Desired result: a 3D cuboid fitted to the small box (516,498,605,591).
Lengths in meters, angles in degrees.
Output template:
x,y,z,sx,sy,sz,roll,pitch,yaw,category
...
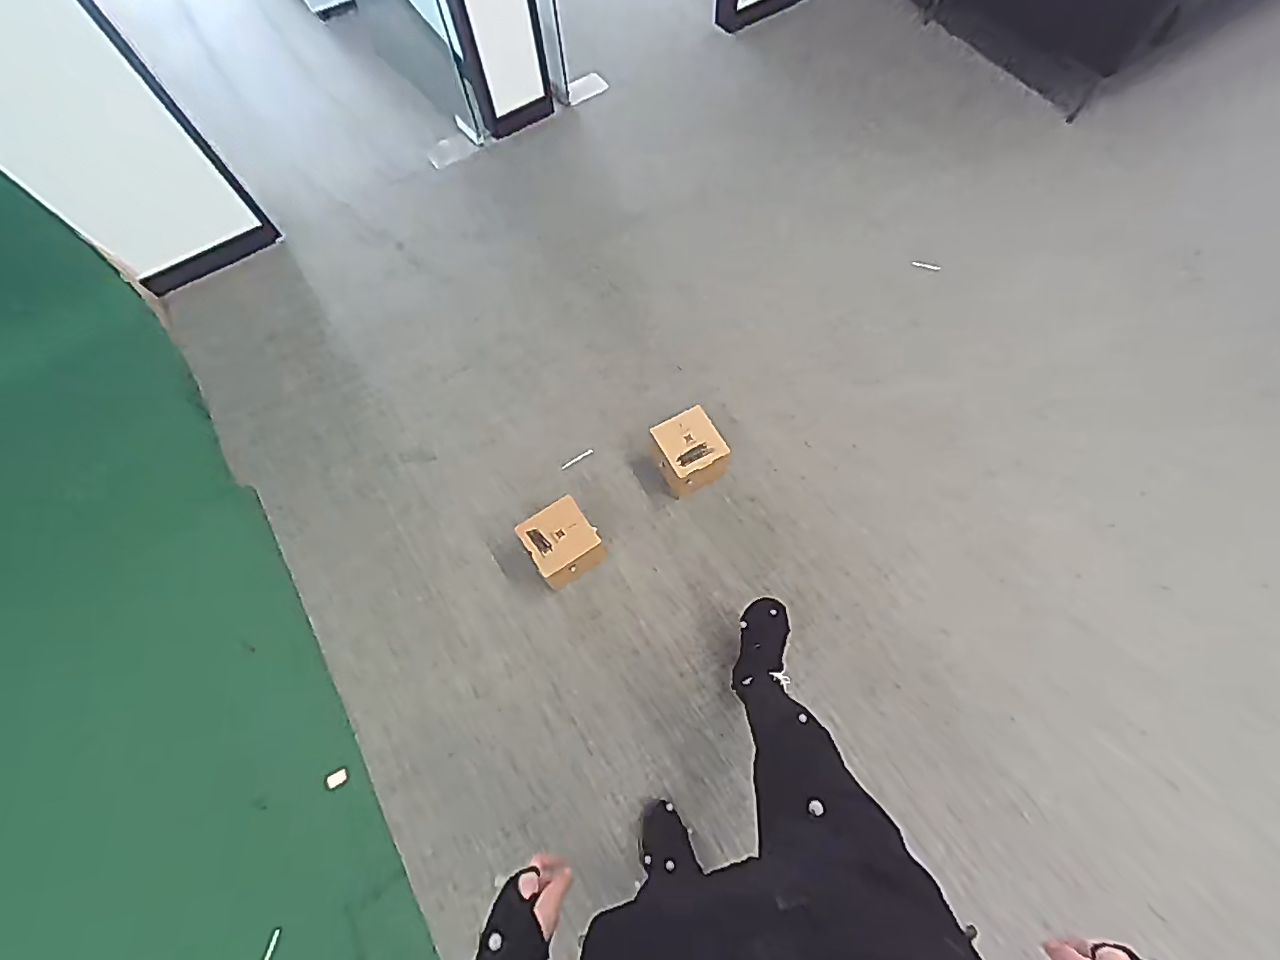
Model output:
x,y,z,sx,sy,sz,roll,pitch,yaw,category
-0.211,0.184,1.487,0.179,0.176,0.168,-32,70,-12,small box
